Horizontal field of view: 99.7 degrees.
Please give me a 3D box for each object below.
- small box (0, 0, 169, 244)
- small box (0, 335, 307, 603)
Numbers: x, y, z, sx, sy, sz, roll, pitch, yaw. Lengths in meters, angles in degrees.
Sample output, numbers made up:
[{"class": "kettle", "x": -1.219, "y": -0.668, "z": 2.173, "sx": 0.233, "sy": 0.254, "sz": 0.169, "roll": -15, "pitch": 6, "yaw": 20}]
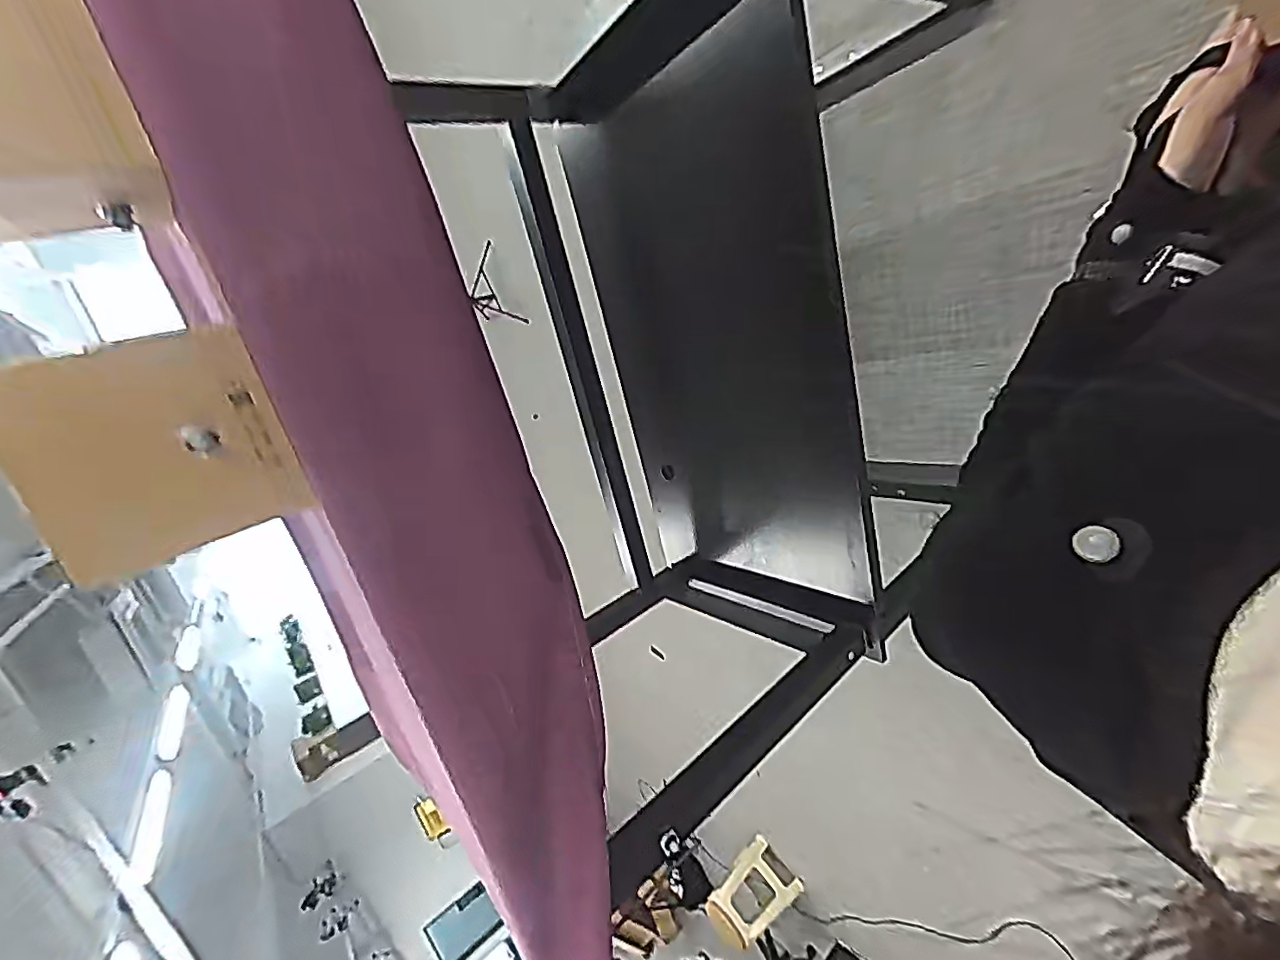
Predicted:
[{"class": "small box", "x": -0.484, "y": -0.279, "z": 0.389, "sx": 0.168, "sy": 0.176, "sz": 0.179, "roll": 11, "pitch": 122, "yaw": 52}, {"class": "small box", "x": -0.423, "y": -0.020, "z": 0.482, "sx": 0.179, "sy": 0.176, "sz": 0.168, "roll": 5, "pitch": 117, "yaw": 53}]
